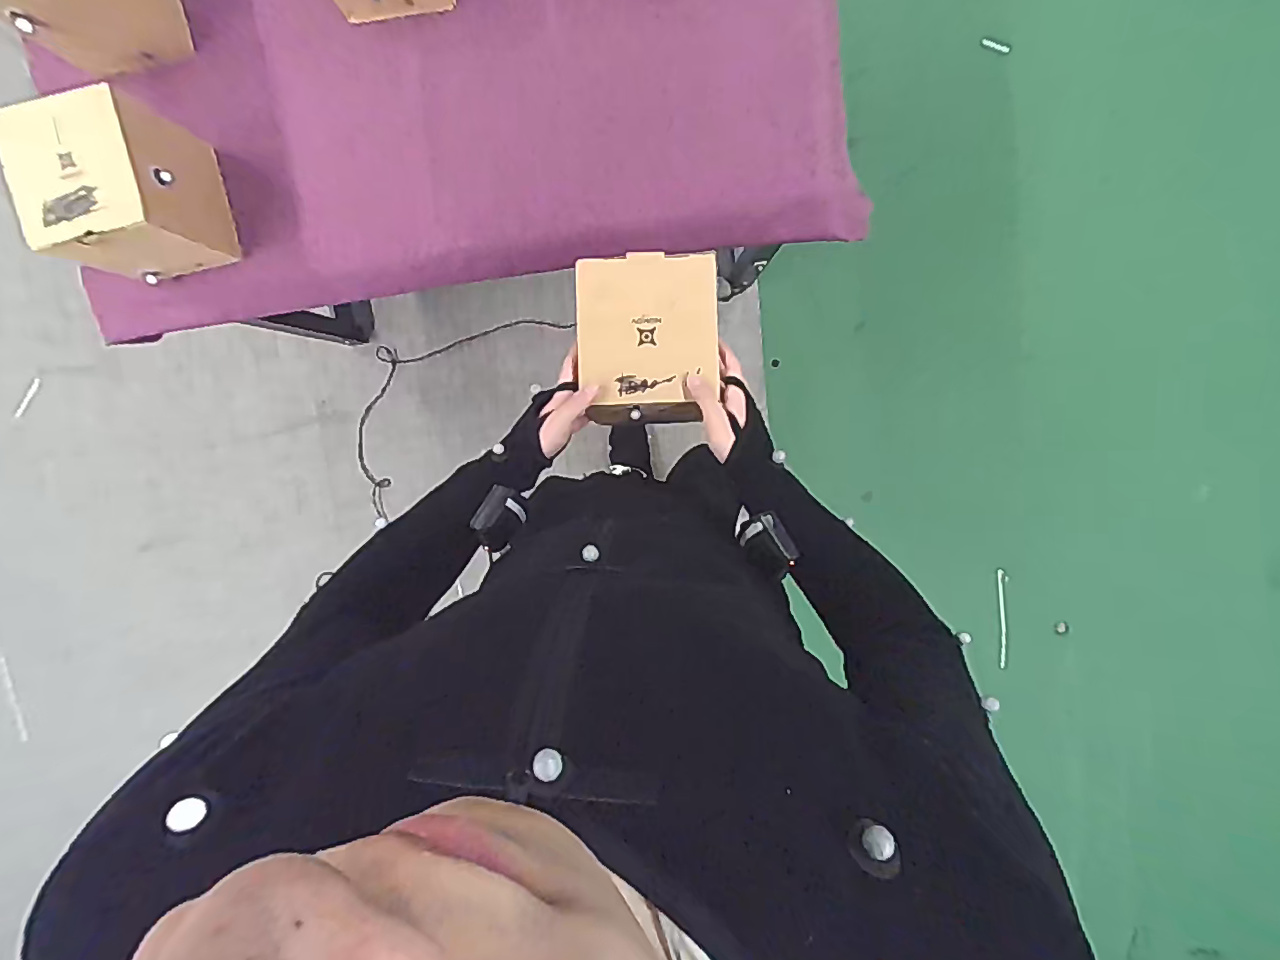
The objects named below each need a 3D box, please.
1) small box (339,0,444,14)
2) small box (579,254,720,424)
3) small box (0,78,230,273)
[{"bbox_3d":[-0.368,-0.767,0.704,0.168,0.176,0.179,-7,99,1],"label":"small box"},{"bbox_3d":[0.011,-0.173,0.707,0.168,0.176,0.179,-1,89,2],"label":"small box"},{"bbox_3d":[-0.725,-0.403,0.754,0.168,0.176,0.179,-12,96,2],"label":"small box"}]
